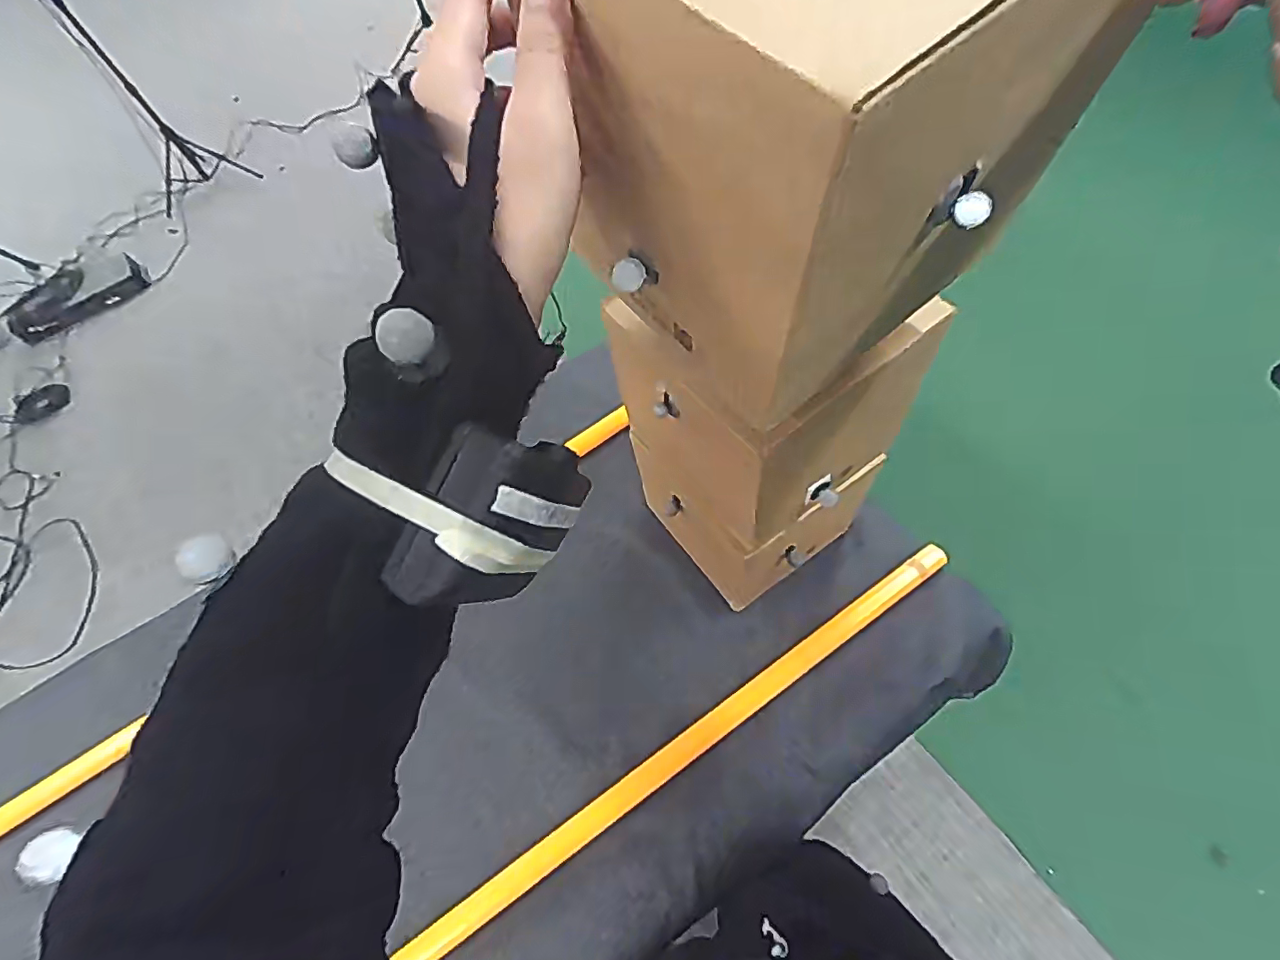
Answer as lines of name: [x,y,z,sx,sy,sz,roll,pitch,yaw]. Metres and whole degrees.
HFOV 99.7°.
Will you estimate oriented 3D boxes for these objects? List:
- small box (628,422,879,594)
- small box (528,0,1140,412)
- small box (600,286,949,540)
small box: [0.112,0.001,0.574,0.168,0.176,0.179,-34,61,-10]
small box: [0.069,-0.166,0.242,0.179,0.176,0.168,-38,70,-9]
small box: [0.094,-0.082,0.435,0.168,0.176,0.179,-36,63,-10]
